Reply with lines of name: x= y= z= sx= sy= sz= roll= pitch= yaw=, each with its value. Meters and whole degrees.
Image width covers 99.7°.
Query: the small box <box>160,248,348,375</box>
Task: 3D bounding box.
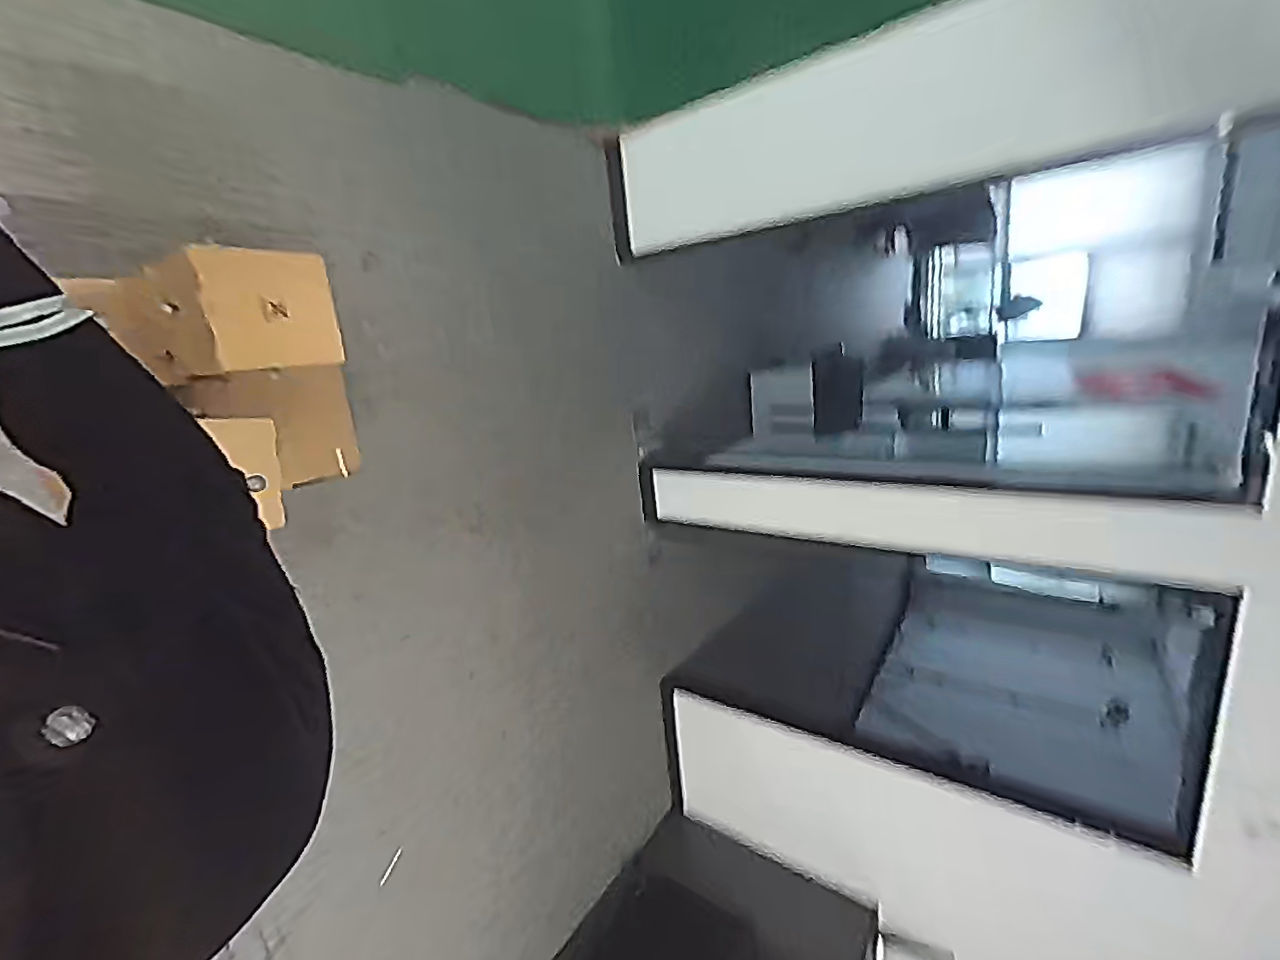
small box: x=-0.598 y=-0.254 z=0.846 sx=0.179 sy=0.176 sz=0.168 roll=-22 pitch=111 yaw=-52

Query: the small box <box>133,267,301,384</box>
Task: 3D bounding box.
small box: x=-0.731 y=-0.261 z=0.940 sx=0.168 sy=0.176 sz=0.179 roll=-25 pitch=114 yaw=-52

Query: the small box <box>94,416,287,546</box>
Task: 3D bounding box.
small box: x=-0.654 y=-0.010 z=0.793 sx=0.179 sy=0.176 sz=0.168 roll=-9 pitch=102 yaw=-54
